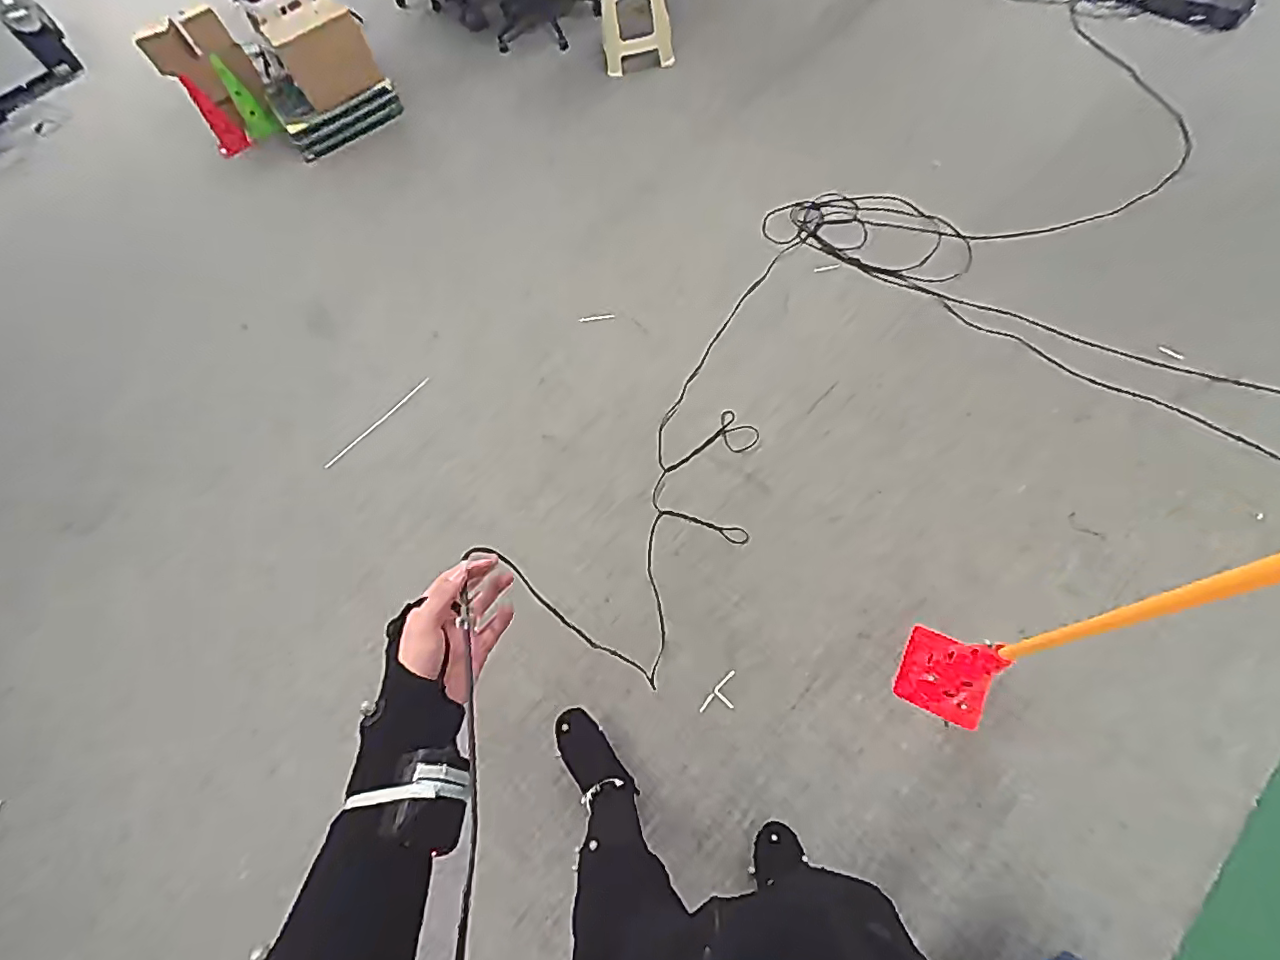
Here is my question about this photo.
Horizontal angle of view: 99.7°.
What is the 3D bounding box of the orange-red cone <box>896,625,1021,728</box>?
[{"bbox_3d":[0.744,0.412,1.207,0.198,0.360,0.199,24,69,19],"label":"orange-red cone"}]
